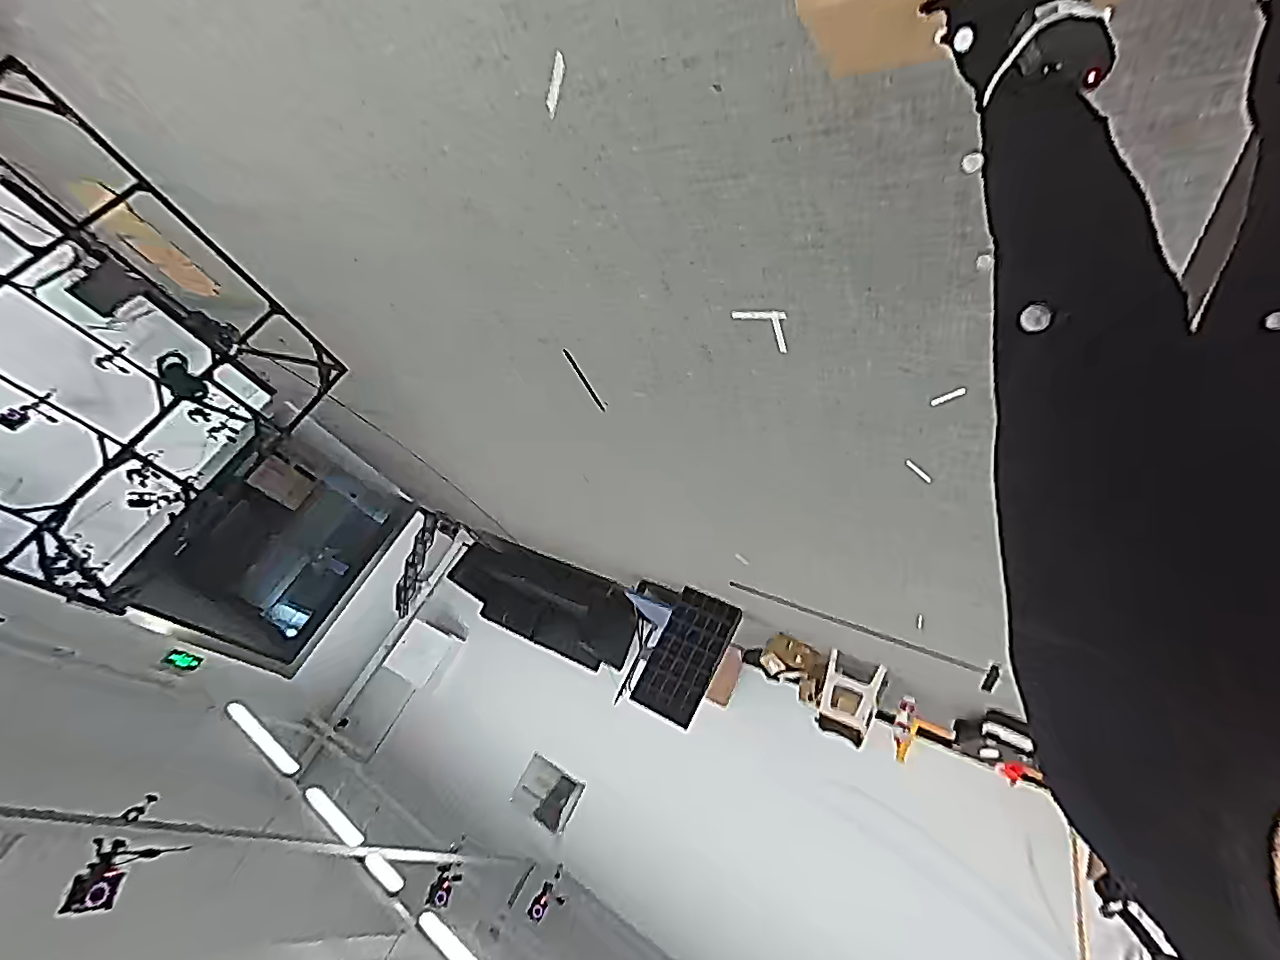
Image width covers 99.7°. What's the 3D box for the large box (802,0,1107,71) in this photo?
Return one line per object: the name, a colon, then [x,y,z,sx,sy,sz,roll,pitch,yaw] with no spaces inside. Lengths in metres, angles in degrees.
large box: [0.349,-0.707,0.540,0.320,0.320,0.408,7,119,26]
